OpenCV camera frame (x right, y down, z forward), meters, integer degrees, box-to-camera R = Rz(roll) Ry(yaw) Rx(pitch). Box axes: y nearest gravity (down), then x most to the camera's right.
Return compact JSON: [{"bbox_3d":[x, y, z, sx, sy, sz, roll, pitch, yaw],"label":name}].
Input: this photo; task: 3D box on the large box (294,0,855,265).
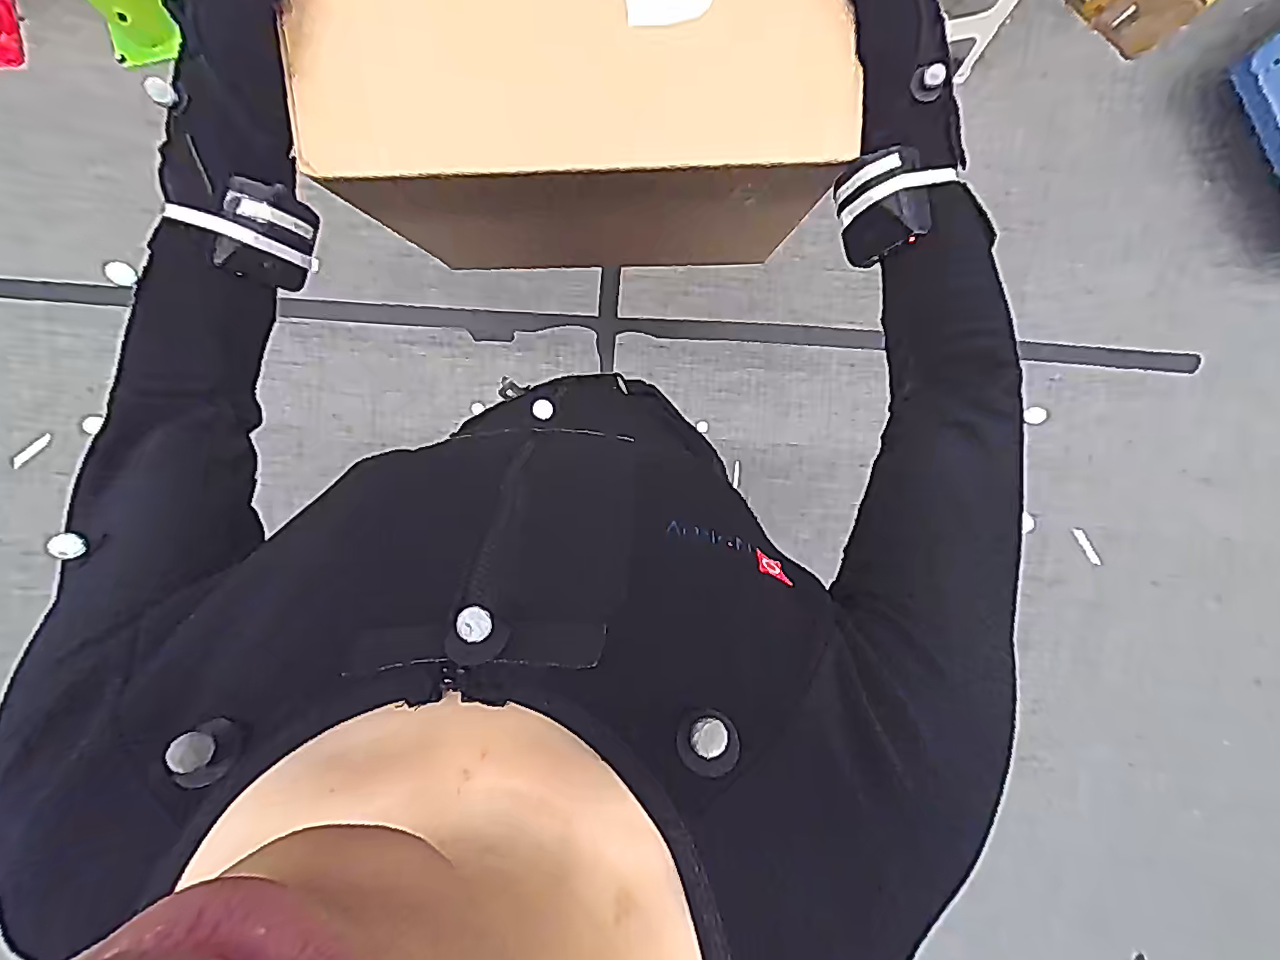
[{"bbox_3d":[-0.048,-0.409,0.521,0.408,0.320,0.320,-1,100,0],"label":"large box"}]
